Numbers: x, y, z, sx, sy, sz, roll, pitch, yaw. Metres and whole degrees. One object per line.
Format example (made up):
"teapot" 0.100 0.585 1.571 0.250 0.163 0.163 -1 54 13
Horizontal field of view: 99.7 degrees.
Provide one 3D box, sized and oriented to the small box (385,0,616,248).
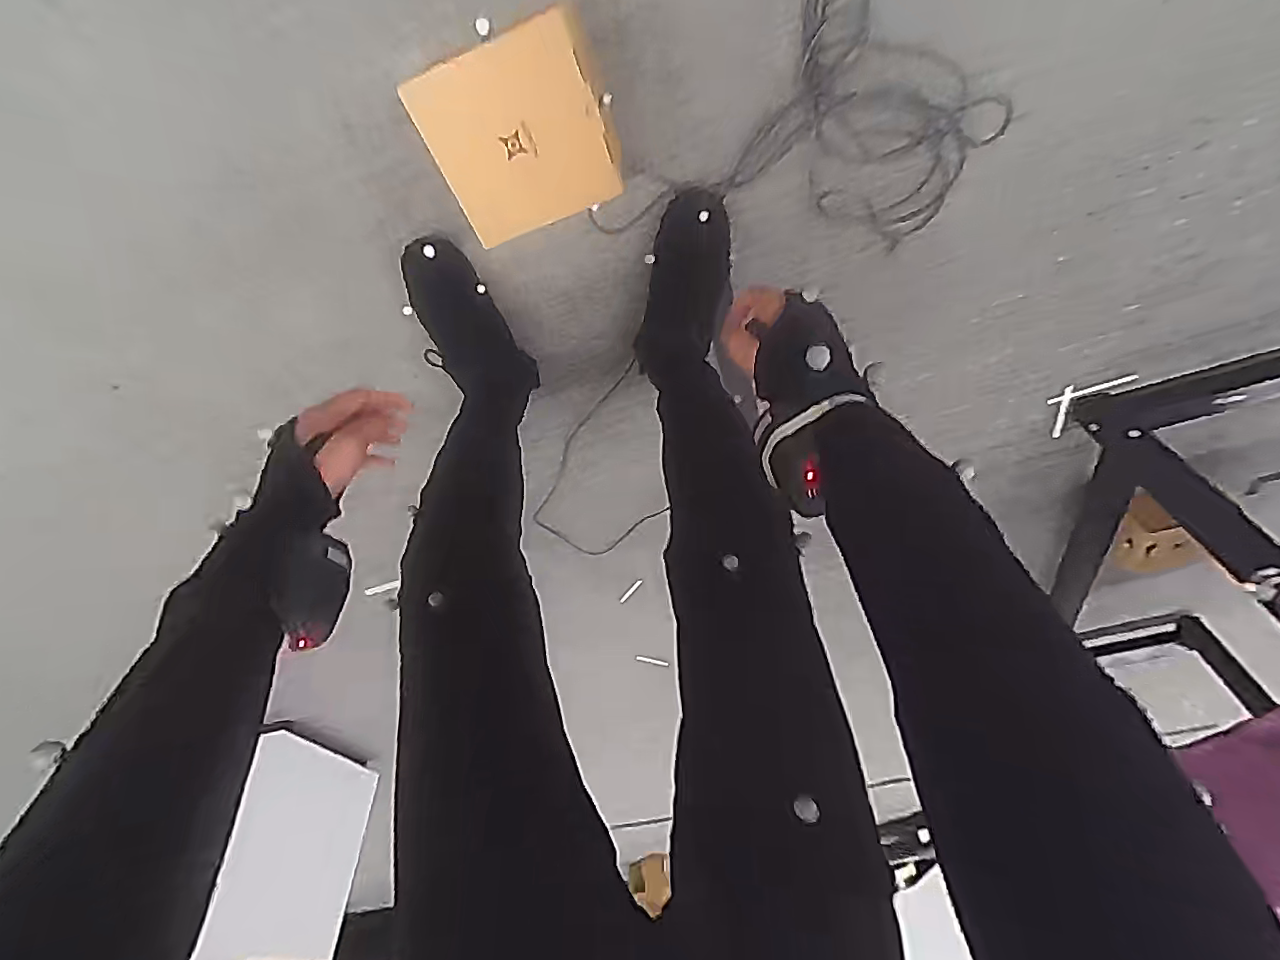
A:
"small box" -0.135 -0.391 0.594 0.179 0.176 0.168 -17 133 11
